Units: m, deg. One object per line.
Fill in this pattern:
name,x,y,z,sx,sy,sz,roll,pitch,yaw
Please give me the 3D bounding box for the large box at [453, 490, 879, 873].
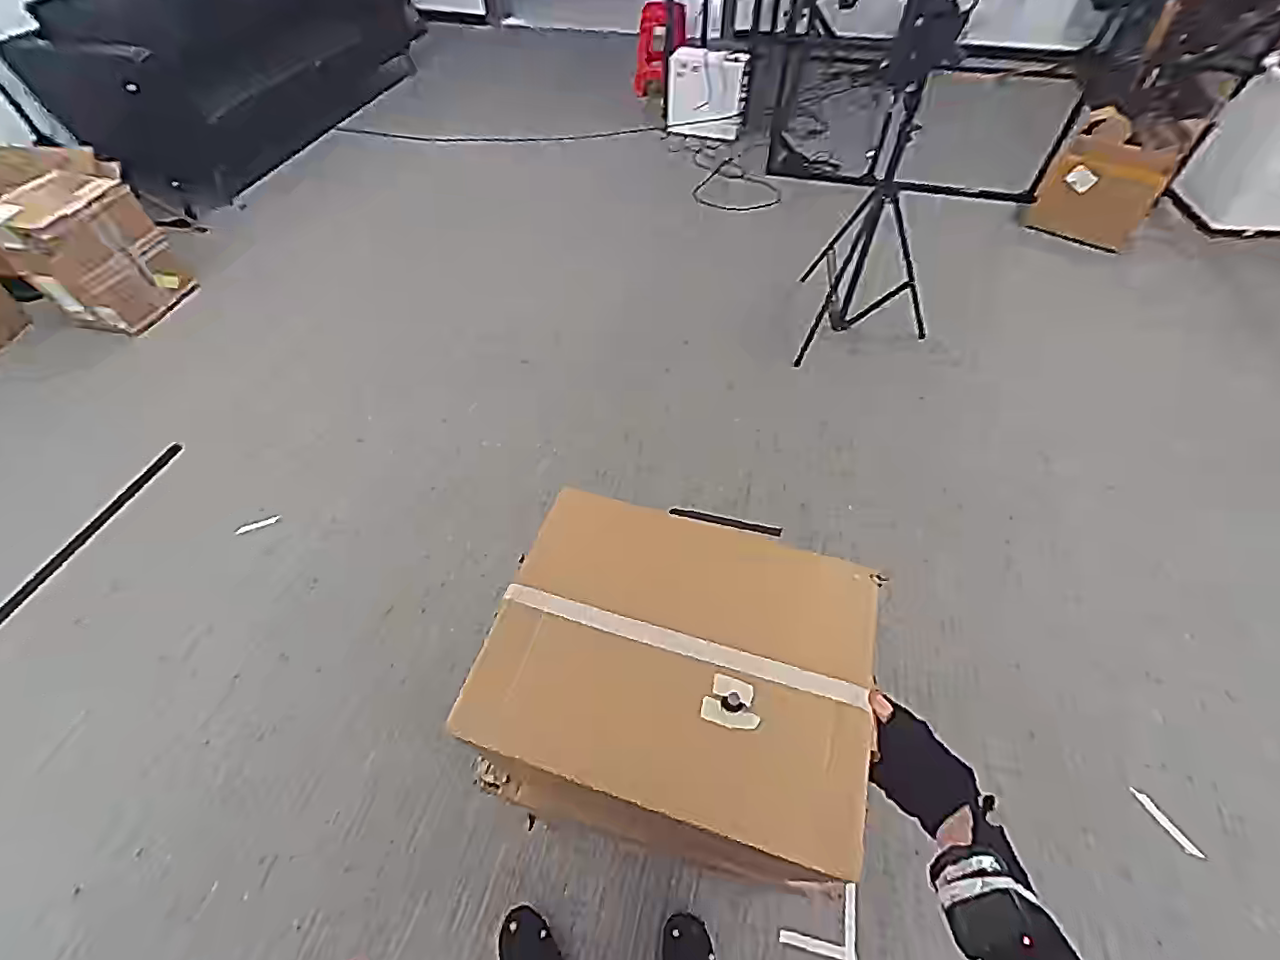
large box,0.045,0.261,0.699,0.408,0.320,0.320,14,56,10
